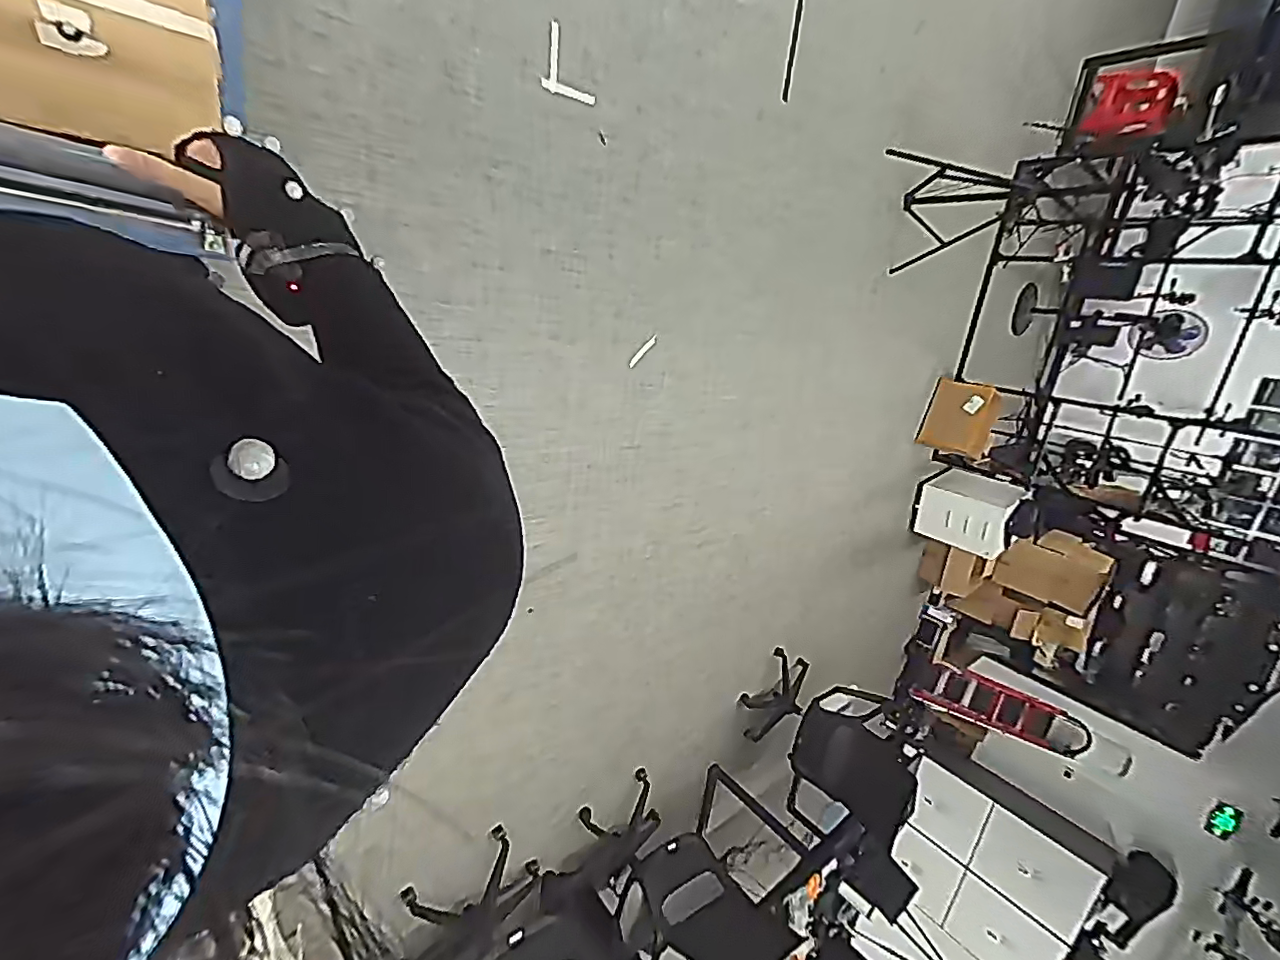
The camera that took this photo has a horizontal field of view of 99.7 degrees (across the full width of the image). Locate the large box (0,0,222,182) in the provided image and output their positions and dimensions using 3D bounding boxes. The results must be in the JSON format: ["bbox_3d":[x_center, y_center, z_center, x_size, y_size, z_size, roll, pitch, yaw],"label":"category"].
[{"bbox_3d":[-0.816,-0.603,0.684,0.408,0.320,0.320,-9,114,-42],"label":"large box"}]
